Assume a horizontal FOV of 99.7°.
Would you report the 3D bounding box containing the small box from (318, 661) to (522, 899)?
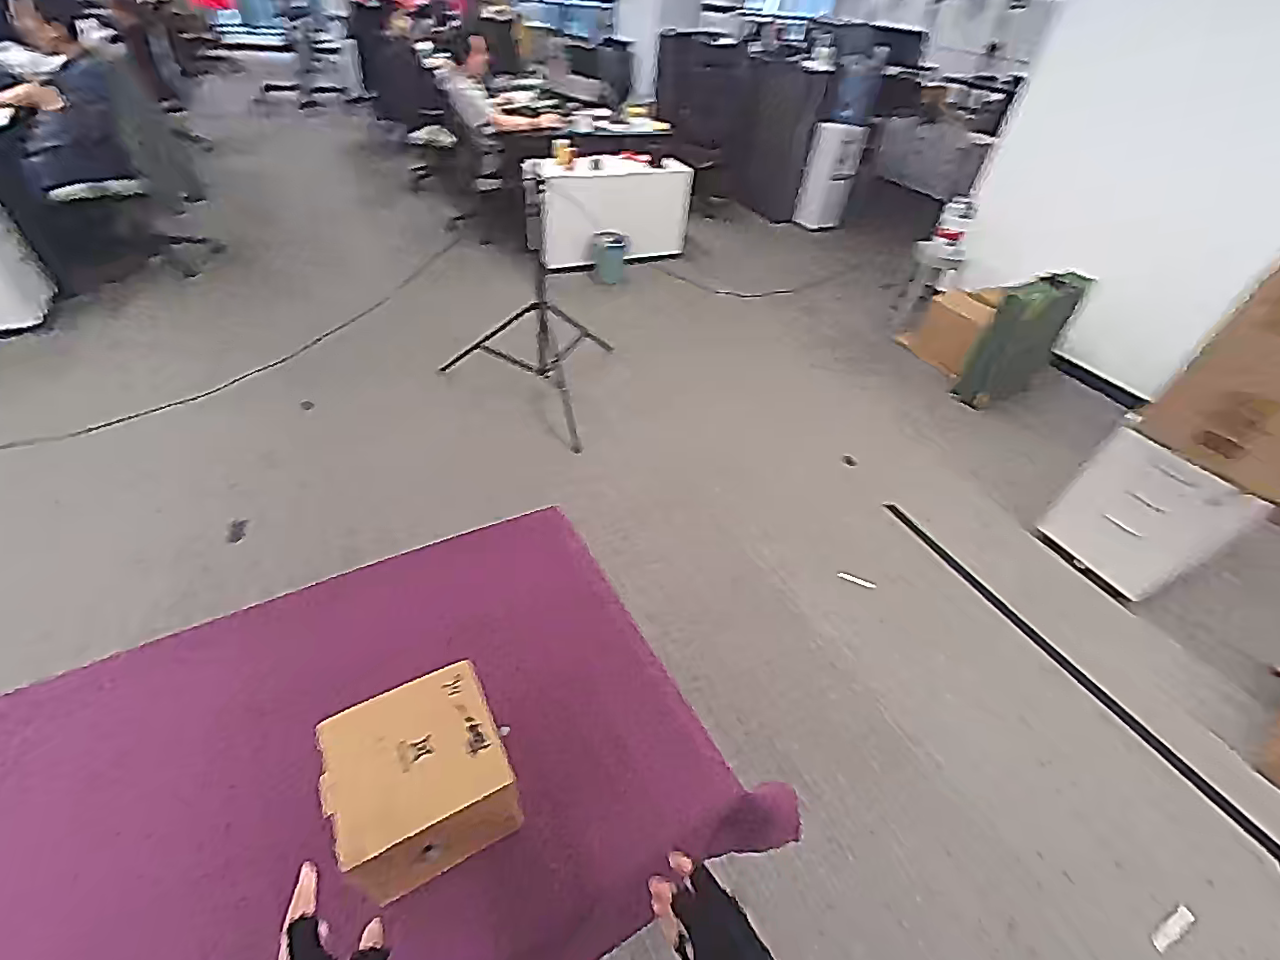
[{"bbox_3d":[-0.257,0.362,0.656,0.179,0.176,0.168,-20,49,-24],"label":"small box"}]
